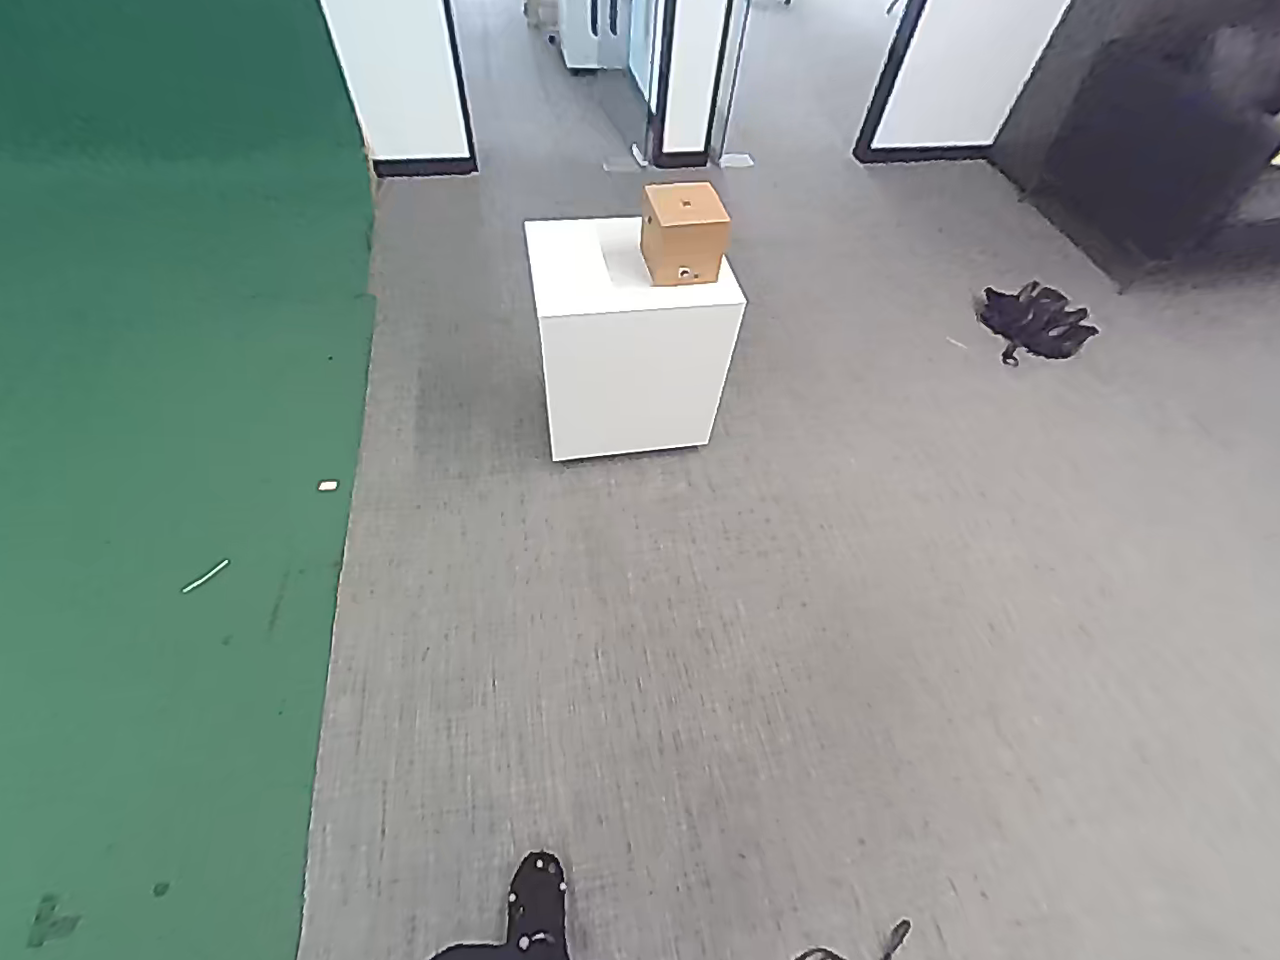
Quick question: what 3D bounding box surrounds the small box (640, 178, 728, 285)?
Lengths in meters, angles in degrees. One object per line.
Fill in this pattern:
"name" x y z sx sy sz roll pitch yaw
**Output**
"small box" 0.098 -0.603 1.316 0.168 0.176 0.179 -10 58 -10
